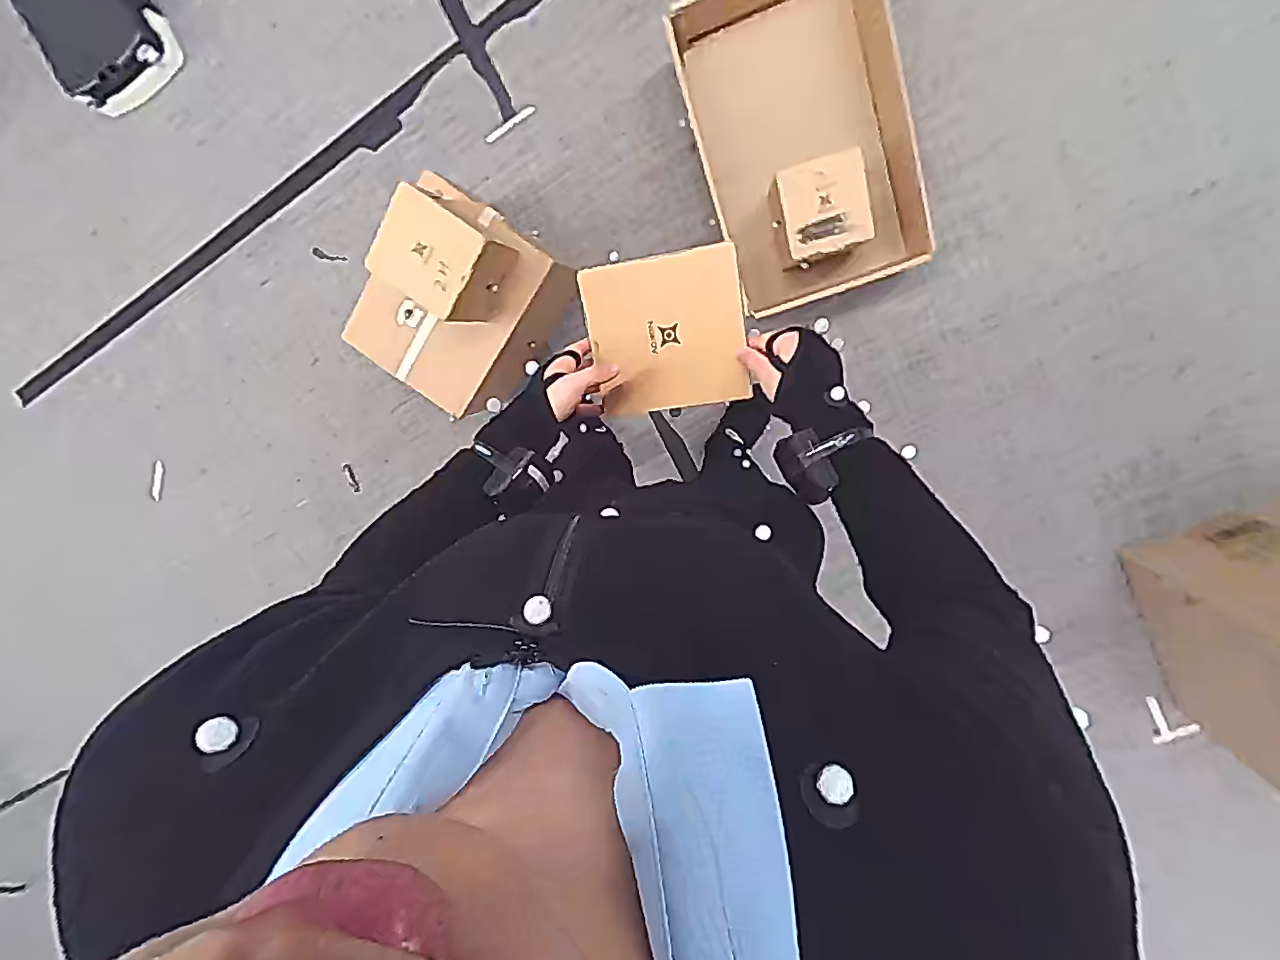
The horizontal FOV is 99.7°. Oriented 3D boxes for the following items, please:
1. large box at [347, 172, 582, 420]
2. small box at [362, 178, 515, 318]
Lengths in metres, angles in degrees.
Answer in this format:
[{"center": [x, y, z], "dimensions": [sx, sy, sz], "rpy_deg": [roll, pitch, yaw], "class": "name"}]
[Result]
[{"center": [-0.388, -0.411, 1.267], "dimensions": [0.320, 0.320, 0.408], "rpy_deg": [35, 107, -2], "class": "large box"}, {"center": [-0.365, -0.416, 1.005], "dimensions": [0.179, 0.176, 0.168], "rpy_deg": [34, 108, -3], "class": "small box"}]
